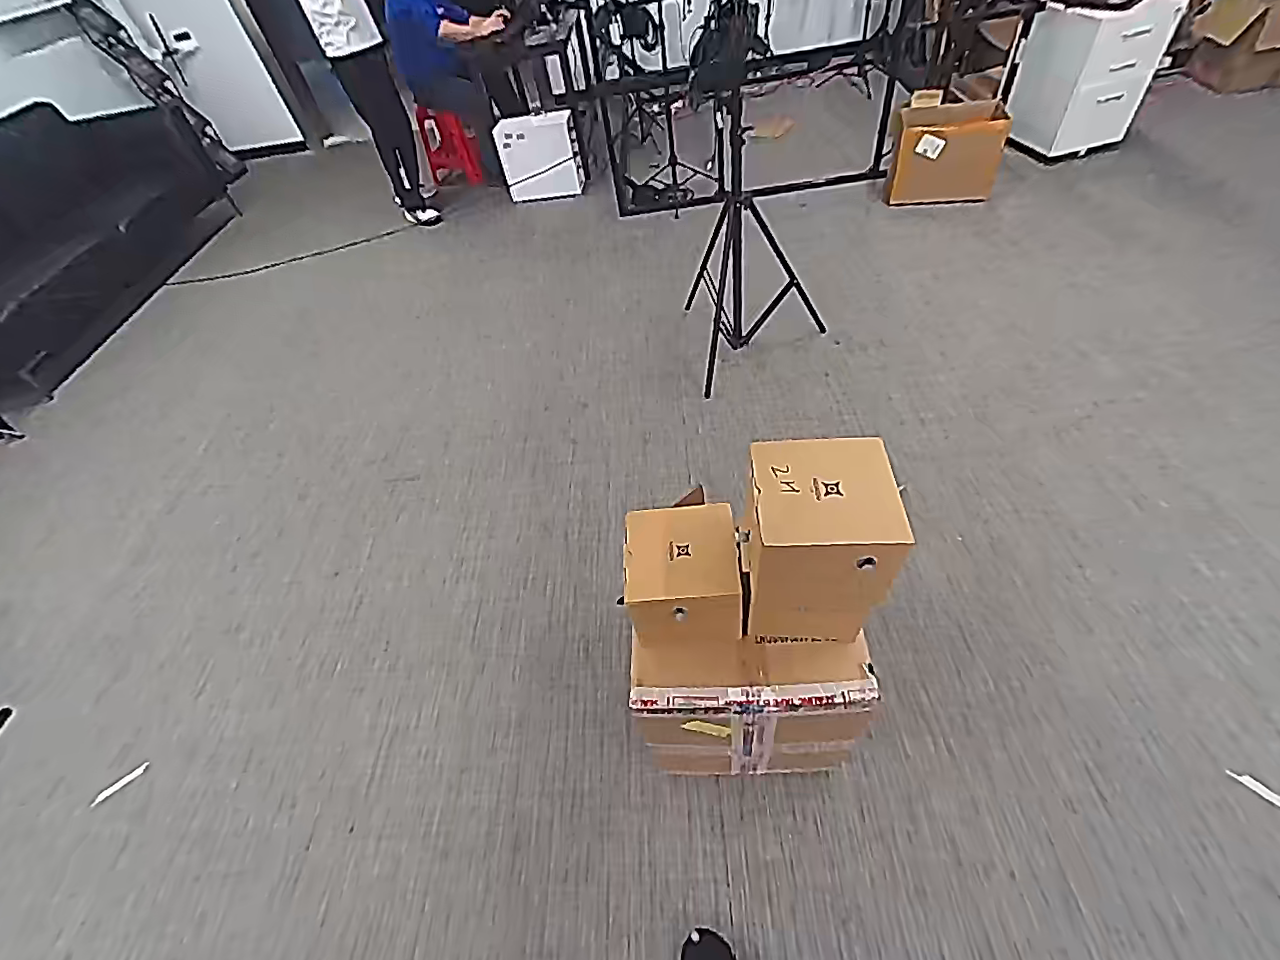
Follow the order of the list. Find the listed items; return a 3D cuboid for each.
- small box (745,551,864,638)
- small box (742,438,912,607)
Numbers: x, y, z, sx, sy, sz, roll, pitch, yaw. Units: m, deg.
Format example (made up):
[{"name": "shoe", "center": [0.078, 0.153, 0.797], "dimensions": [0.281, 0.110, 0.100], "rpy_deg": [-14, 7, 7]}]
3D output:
[{"name": "small box", "center": [0.260, 0.145, 0.873], "dimensions": [0.179, 0.176, 0.168], "rpy_deg": [0, 52, 8]}, {"name": "small box", "center": [0.235, 0.061, 0.731], "dimensions": [0.179, 0.176, 0.168], "rpy_deg": [-2, 51, 7]}]
